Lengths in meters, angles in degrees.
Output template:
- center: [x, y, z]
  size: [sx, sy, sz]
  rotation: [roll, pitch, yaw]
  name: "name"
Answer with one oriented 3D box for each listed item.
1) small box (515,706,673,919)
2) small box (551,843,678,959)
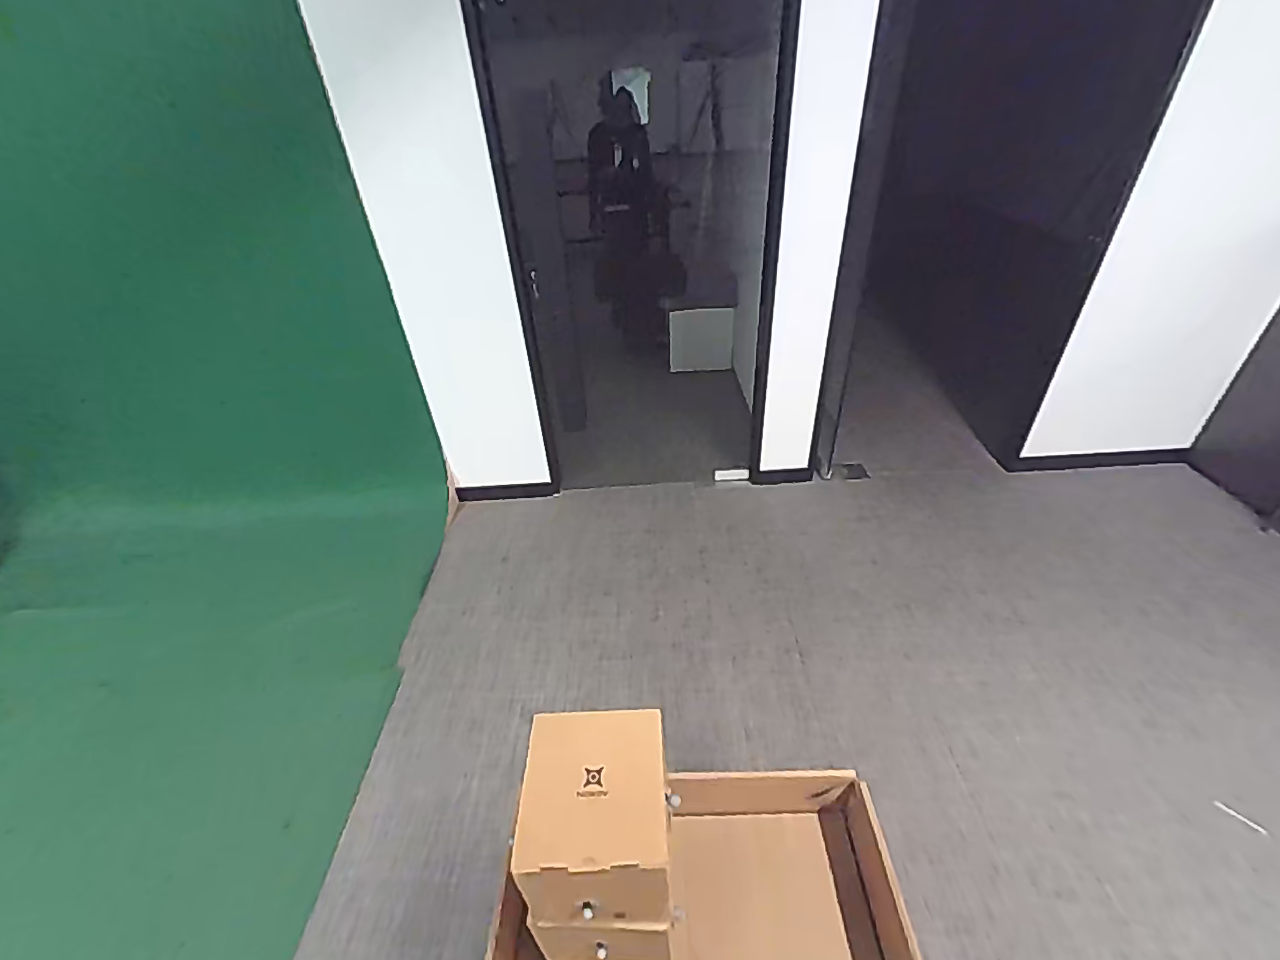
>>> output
- center: [-0.045, 0.408, 0.670]
  size: [0.168, 0.176, 0.179]
  rotation: [-3, 36, 2]
  name: "small box"
- center: [-0.030, 0.686, 0.842]
  size: [0.179, 0.176, 0.168]
  rotation: [-2, 36, 4]
  name: "small box"
